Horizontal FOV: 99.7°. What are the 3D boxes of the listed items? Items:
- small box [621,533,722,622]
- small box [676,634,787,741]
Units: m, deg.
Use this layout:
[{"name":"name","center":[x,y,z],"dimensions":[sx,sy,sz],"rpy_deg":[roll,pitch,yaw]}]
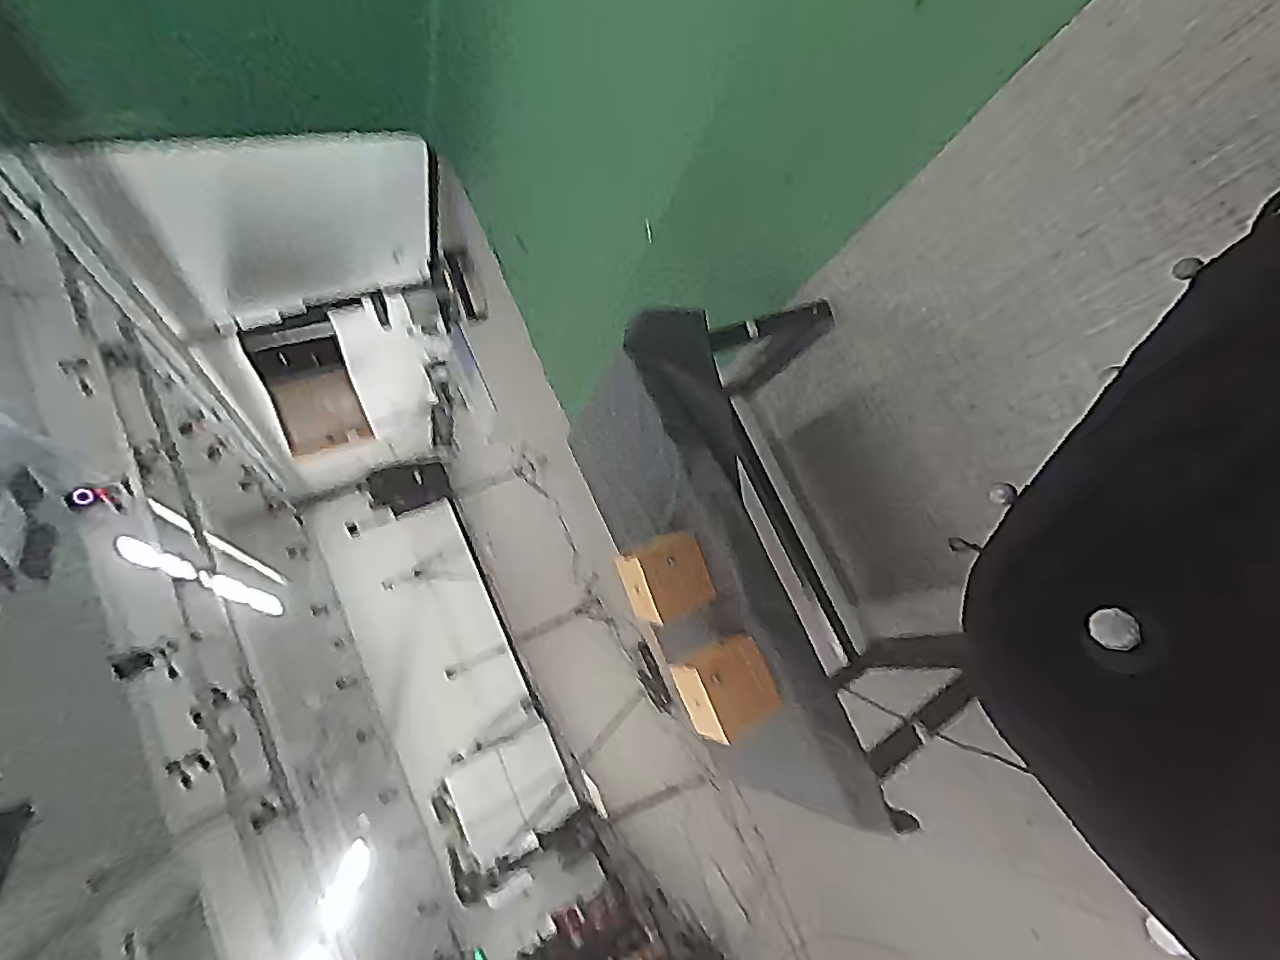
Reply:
[{"name":"small box","center":[0.080,0.241,1.383],"dimensions":[0.168,0.176,0.179],"rpy_deg":[-19,93,66]},{"name":"small box","center":[0.219,0.487,1.292],"dimensions":[0.179,0.176,0.168],"rpy_deg":[66,156,7]}]
